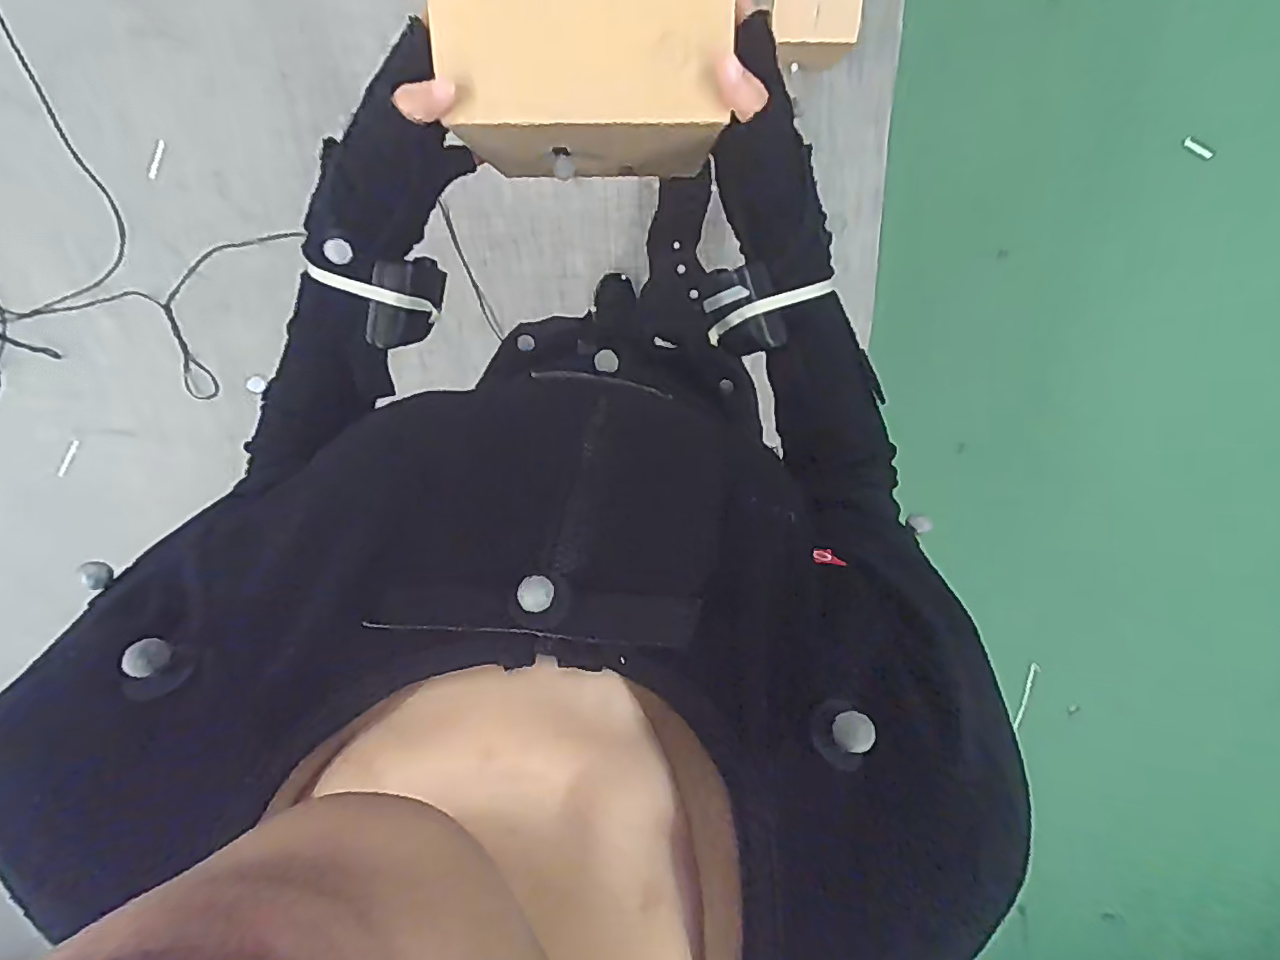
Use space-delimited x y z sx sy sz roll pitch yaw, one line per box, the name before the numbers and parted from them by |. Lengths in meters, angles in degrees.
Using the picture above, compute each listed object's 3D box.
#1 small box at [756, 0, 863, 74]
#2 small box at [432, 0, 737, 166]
small box | 0.328 -0.929 1.058 0.168 0.176 0.179 1 113 0
small box | -0.029 -0.316 0.350 0.168 0.176 0.179 -1 108 0
